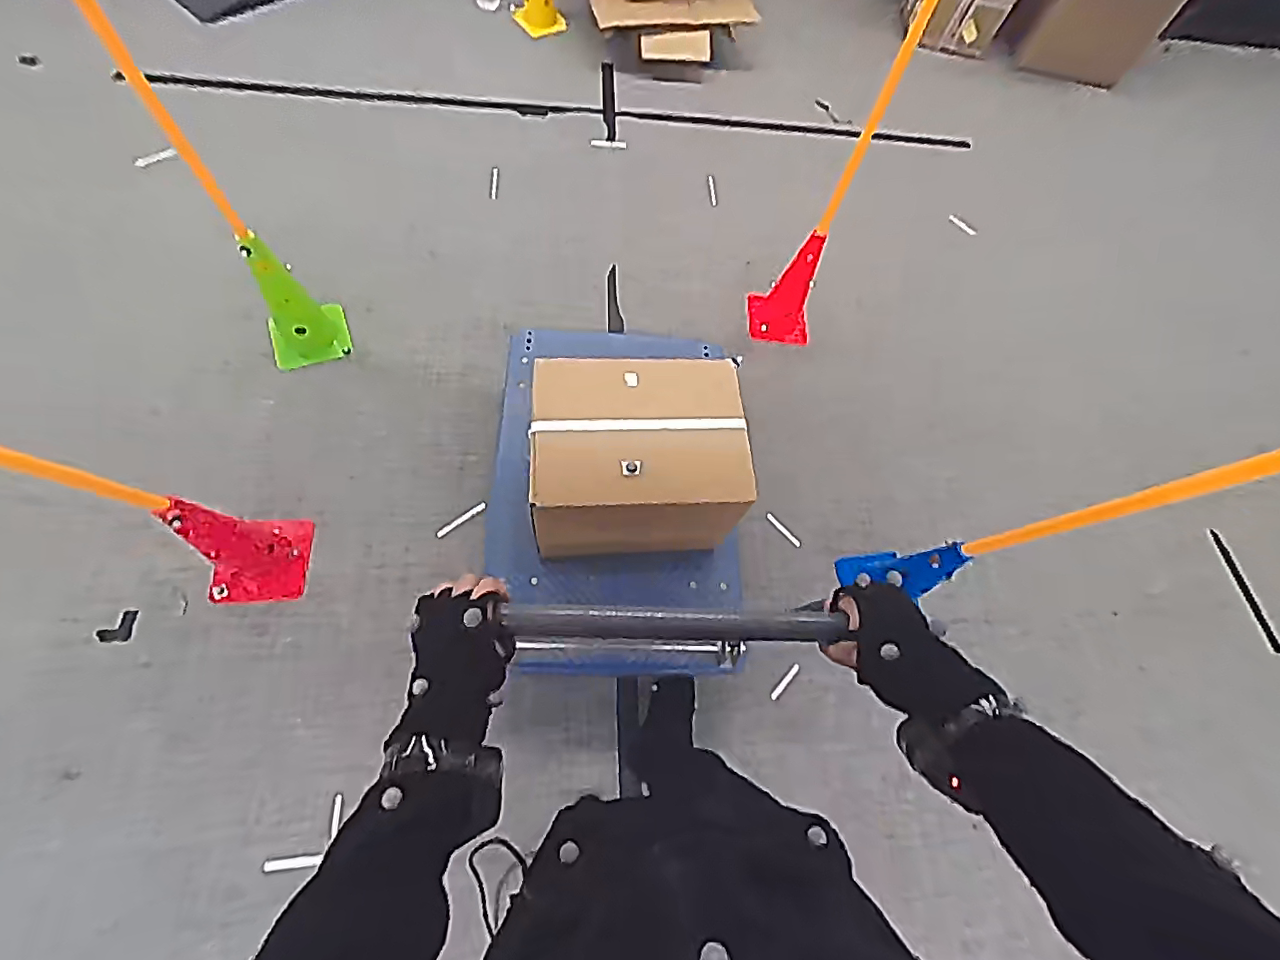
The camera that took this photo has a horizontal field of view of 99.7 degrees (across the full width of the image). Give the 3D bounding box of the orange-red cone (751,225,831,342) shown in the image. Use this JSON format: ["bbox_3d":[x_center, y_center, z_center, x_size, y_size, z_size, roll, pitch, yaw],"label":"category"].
[{"bbox_3d":[0.486,-0.616,1.639,0.199,0.360,0.198,6,65,-6],"label":"orange-red cone"}]

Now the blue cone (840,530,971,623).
[{"bbox_3d":[0.660,0.210,1.297,0.193,0.380,0.192,-4,65,-10],"label":"blue cone"}]
